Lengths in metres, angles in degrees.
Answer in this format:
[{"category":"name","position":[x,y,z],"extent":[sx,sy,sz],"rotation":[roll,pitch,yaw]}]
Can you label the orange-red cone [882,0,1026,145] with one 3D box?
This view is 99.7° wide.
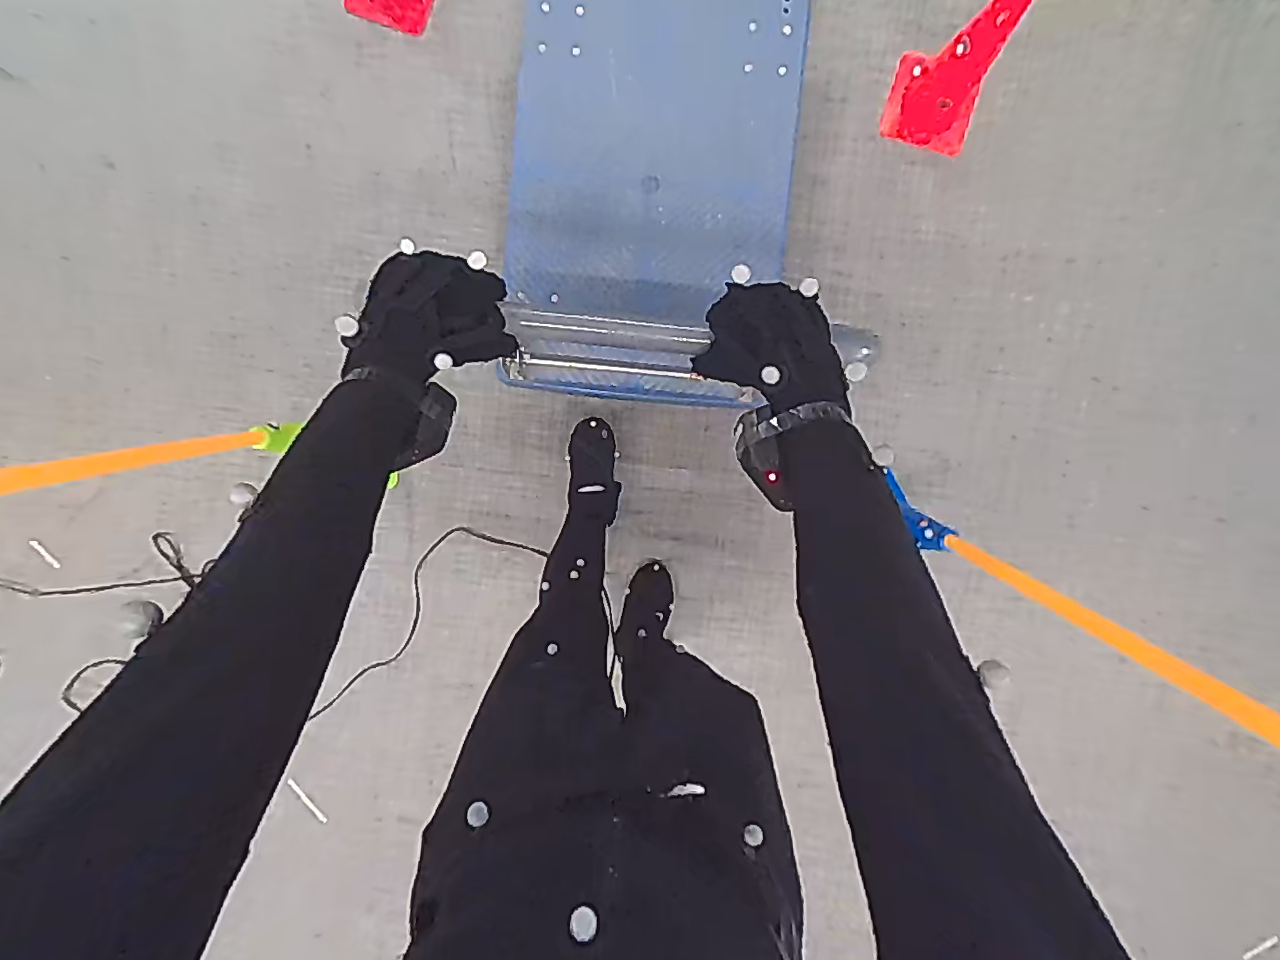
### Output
[{"category":"orange-red cone","position":[0.679,-0.891,1.091],"extent":[0.198,0.360,0.199],"rotation":[18,93,0]}]
